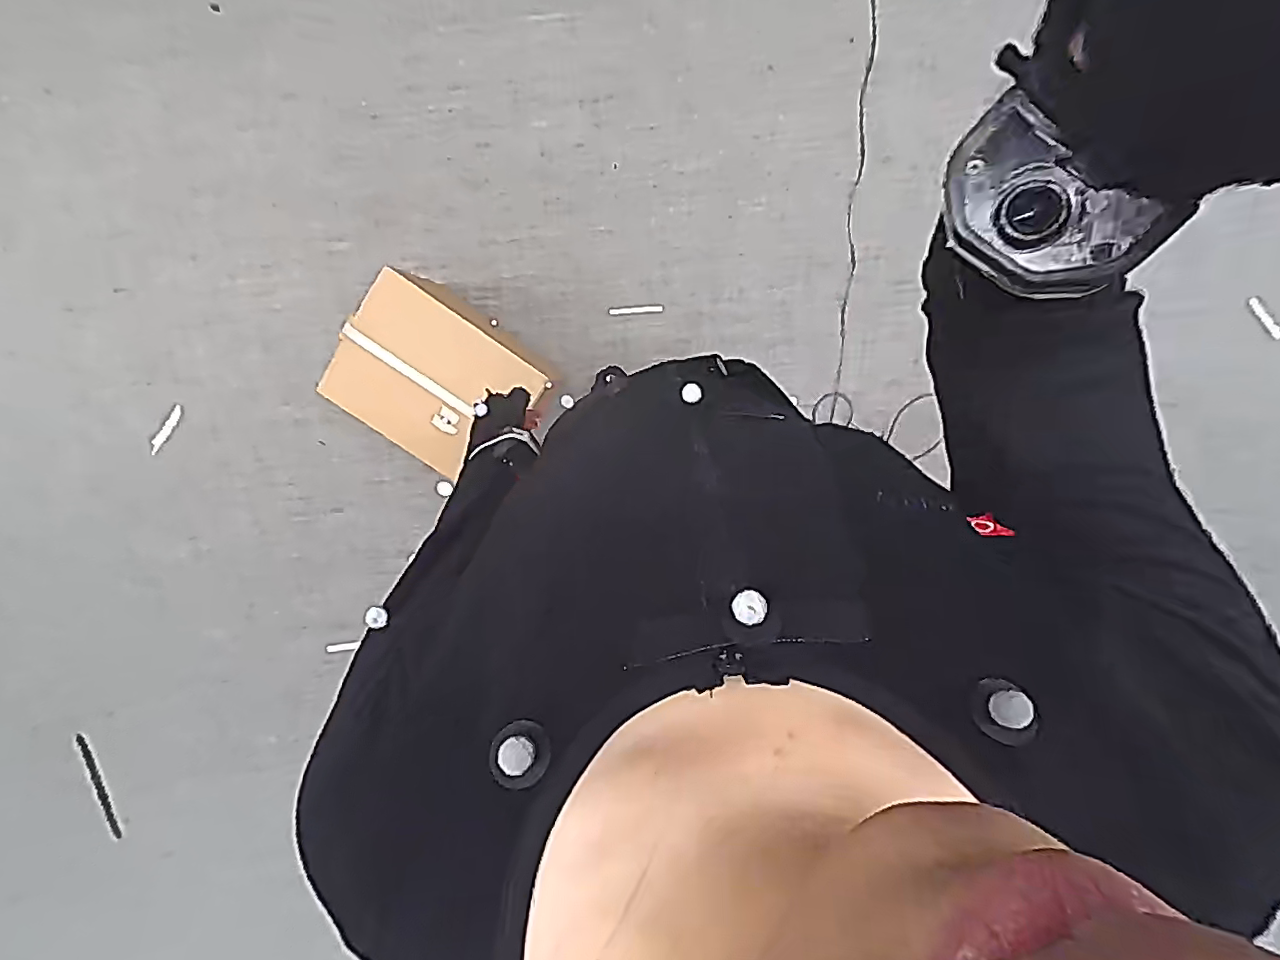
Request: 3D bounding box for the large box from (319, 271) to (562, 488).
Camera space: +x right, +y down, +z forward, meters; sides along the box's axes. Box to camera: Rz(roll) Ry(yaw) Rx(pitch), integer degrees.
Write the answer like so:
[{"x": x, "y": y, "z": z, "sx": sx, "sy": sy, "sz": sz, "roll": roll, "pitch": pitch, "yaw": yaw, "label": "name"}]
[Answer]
[{"x": -0.452, "y": -0.239, "z": 1.311, "sx": 0.408, "sy": 0.320, "sz": 0.320, "roll": 34, "pitch": 101, "yaw": -8, "label": "large box"}]
